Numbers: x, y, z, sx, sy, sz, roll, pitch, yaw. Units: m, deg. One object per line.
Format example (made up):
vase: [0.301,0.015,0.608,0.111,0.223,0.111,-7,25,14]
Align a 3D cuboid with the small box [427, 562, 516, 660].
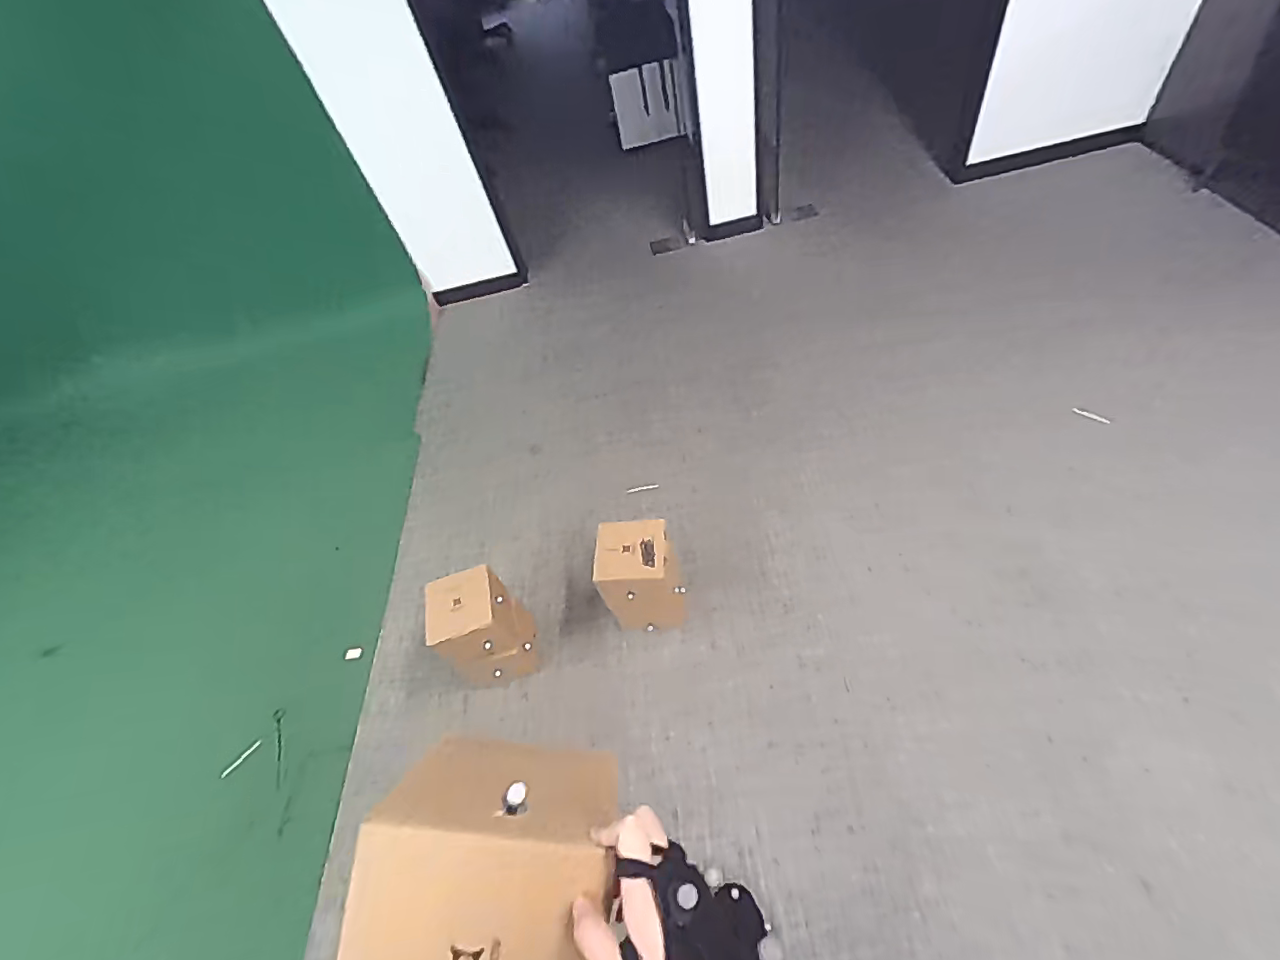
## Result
small box: [-0.430,0.344,1.389,0.168,0.176,0.179,-18,51,-1]

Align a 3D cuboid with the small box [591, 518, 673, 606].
small box: [-0.011,0.213,1.384,0.179,0.176,0.168,-5,53,12]

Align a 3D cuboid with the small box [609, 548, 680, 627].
small box: [0.020,0.305,1.518,0.179,0.176,0.168,-5,52,10]
